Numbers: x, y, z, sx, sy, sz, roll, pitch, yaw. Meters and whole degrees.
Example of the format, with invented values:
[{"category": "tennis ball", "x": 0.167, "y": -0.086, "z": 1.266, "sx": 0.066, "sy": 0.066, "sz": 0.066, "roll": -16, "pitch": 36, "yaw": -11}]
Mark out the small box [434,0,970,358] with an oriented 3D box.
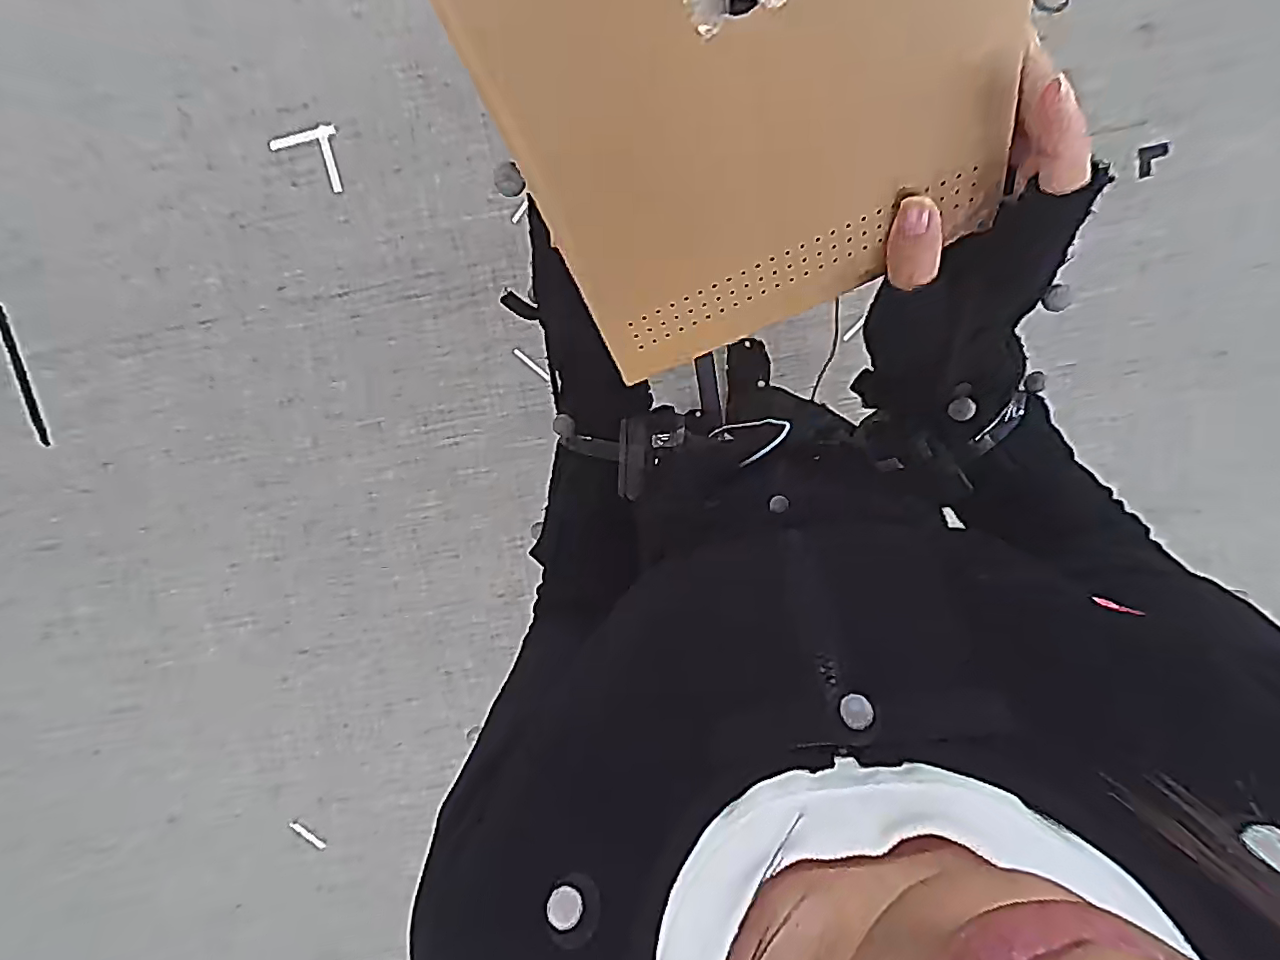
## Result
[{"category": "small box", "x": 0.031, "y": -0.188, "z": 0.256, "sx": 0.179, "sy": 0.168, "sz": 0.176, "roll": -21, "pitch": 138, "yaw": 9}]
